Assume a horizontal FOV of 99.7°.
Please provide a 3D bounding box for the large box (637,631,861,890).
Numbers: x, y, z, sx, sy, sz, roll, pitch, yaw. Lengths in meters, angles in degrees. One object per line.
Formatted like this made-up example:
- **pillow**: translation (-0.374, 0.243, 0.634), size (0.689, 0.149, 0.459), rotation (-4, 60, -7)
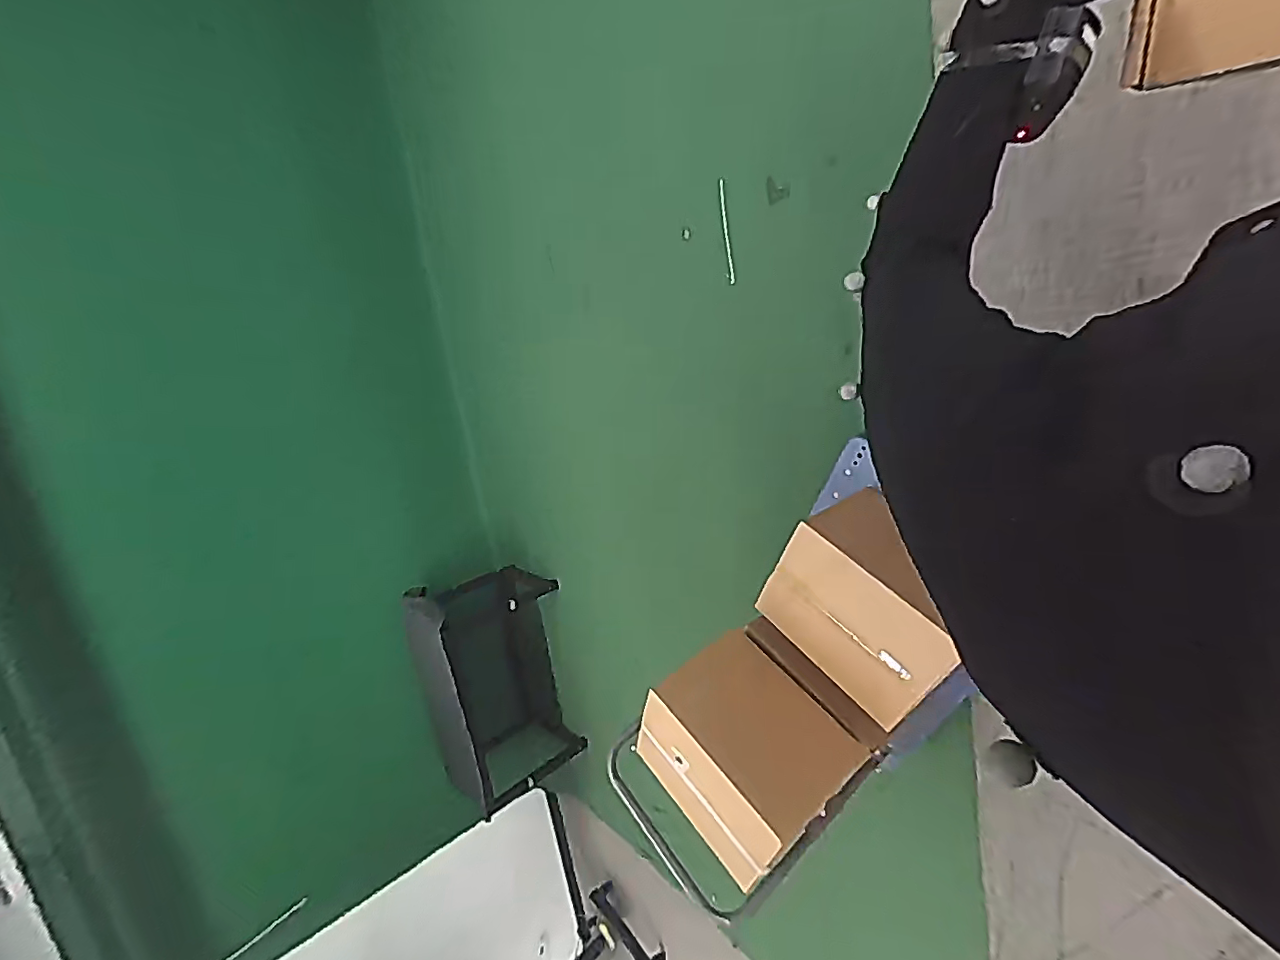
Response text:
- **large box**: translation (0.246, 0.661, 1.322), size (0.408, 0.320, 0.320), rotation (42, 138, 34)
